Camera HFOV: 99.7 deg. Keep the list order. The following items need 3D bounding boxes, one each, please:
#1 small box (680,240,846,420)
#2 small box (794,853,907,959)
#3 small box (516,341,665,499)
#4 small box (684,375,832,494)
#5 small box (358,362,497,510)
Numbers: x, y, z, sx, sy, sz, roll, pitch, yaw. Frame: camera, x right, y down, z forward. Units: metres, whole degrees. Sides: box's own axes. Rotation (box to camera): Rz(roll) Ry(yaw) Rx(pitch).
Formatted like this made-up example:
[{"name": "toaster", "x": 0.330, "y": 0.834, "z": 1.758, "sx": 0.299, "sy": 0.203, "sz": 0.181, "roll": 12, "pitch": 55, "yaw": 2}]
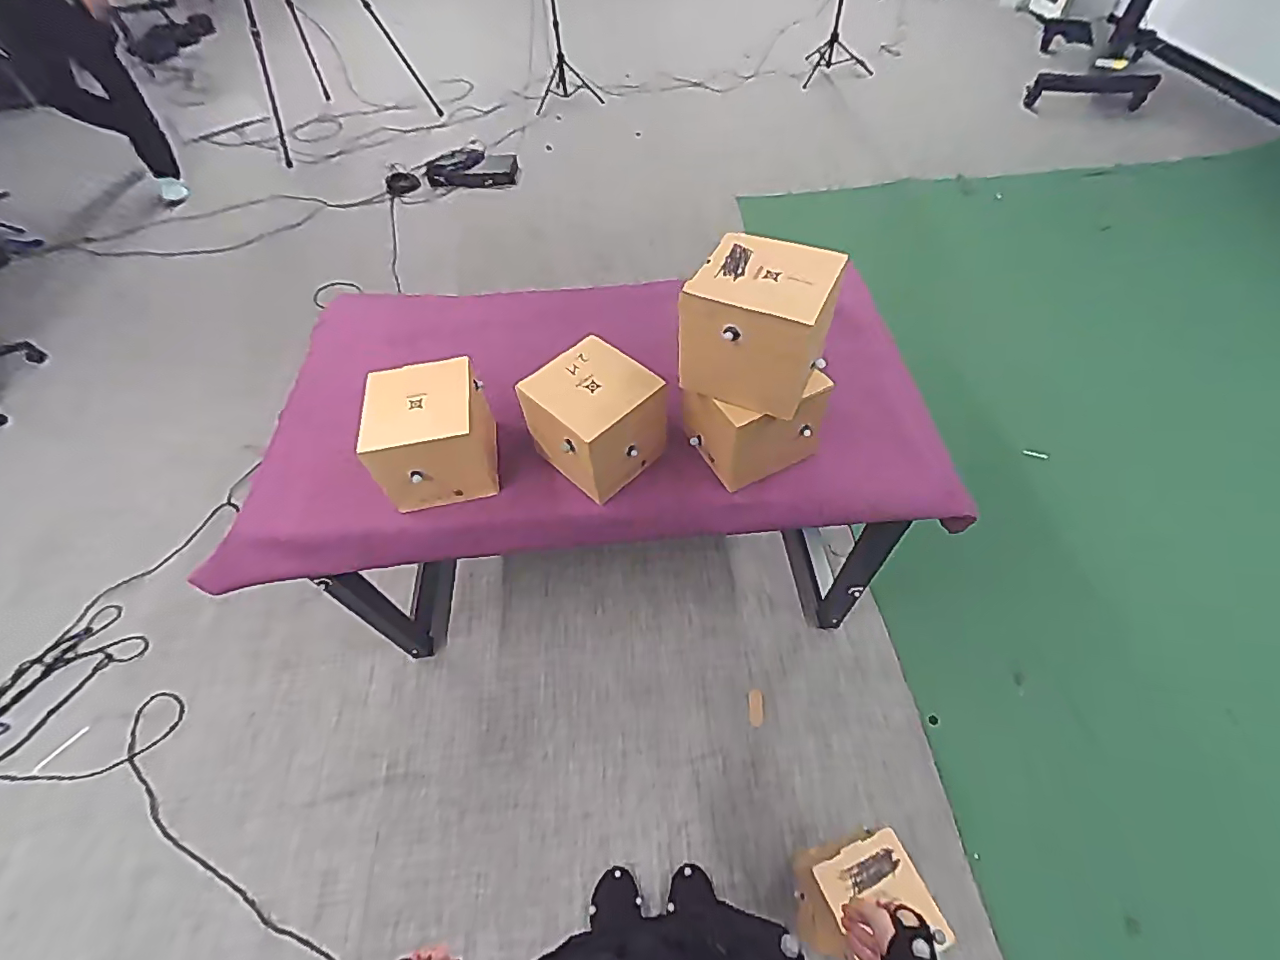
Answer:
[{"name": "small box", "x": 0.168, "y": -0.211, "z": 0.774, "sx": 0.179, "sy": 0.176, "sz": 0.168, "roll": 21, "pitch": 56, "yaw": 18}, {"name": "small box", "x": 0.411, "y": 0.864, "z": 1.090, "sx": 0.179, "sy": 0.176, "sz": 0.168, "roll": 3, "pitch": 55, "yaw": 6}, {"name": "small box", "x": -0.073, "y": -0.092, "z": 0.901, "sx": 0.168, "sy": 0.176, "sz": 0.179, "roll": -40, "pitch": 61, "yaw": -23}, {"name": "small box", "x": 0.182, "y": -0.108, "z": 0.900, "sx": 0.179, "sy": 0.176, "sz": 0.168, "roll": -24, "pitch": 55, "yaw": -13}, {"name": "small box", "x": -0.341, "y": -0.065, "z": 0.899, "sx": 0.168, "sy": 0.176, "sz": 0.179, "roll": -11, "pitch": 53, "yaw": -5}]
